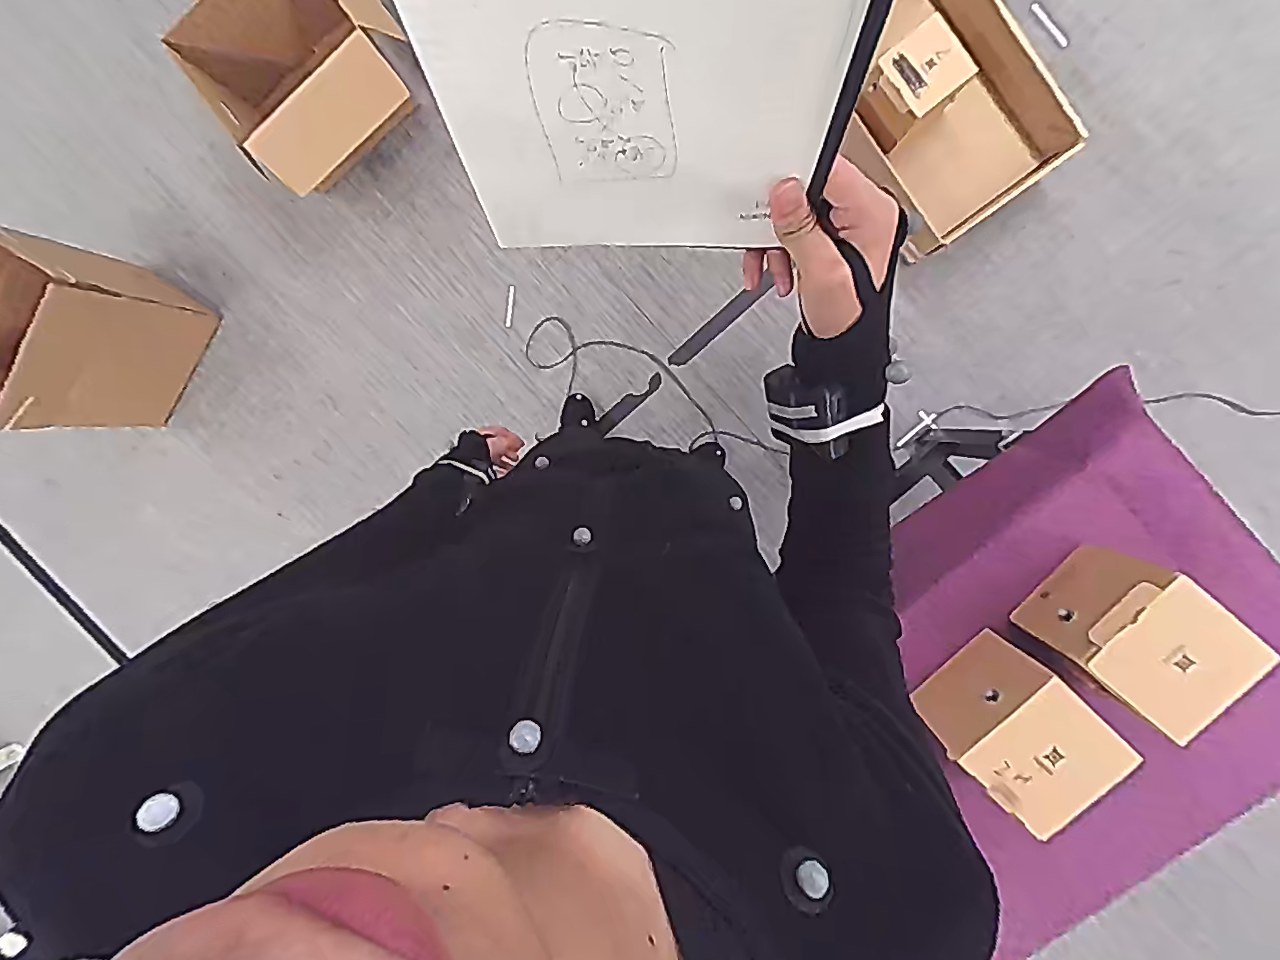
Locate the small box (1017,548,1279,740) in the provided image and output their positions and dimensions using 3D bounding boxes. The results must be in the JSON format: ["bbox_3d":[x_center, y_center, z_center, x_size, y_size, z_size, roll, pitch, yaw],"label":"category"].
[{"bbox_3d":[0.698,0.216,0.771,0.179,0.176,0.168,40,99,-1],"label":"small box"}]
